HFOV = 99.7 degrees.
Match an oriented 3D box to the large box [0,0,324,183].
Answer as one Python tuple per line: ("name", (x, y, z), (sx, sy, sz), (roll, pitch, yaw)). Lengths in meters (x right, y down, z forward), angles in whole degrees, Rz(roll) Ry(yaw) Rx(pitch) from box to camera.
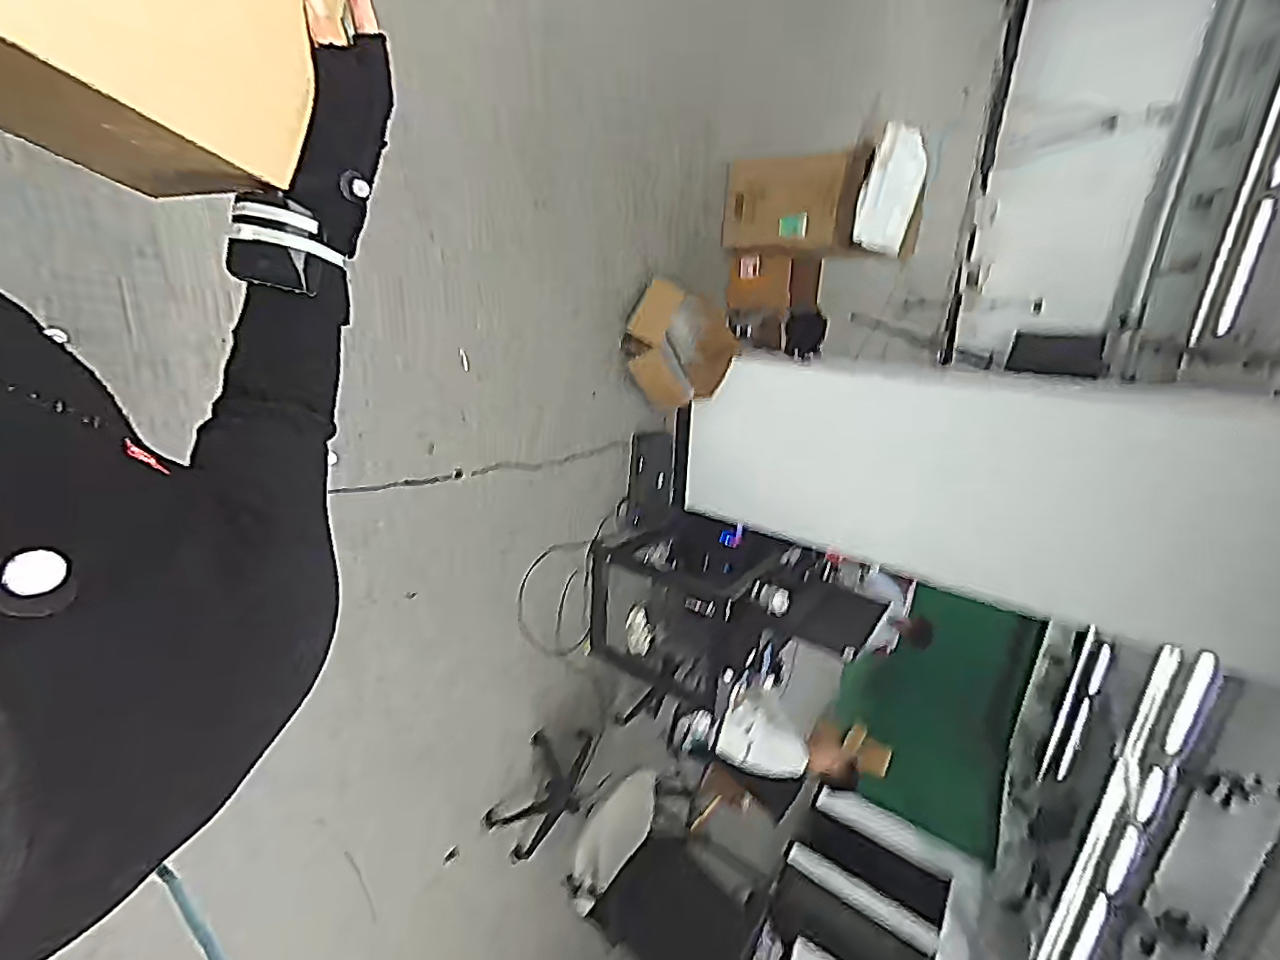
("large box", (-0.451, -0.435, 0.309), (0.408, 0.320, 0.320), (12, 95, -58))
